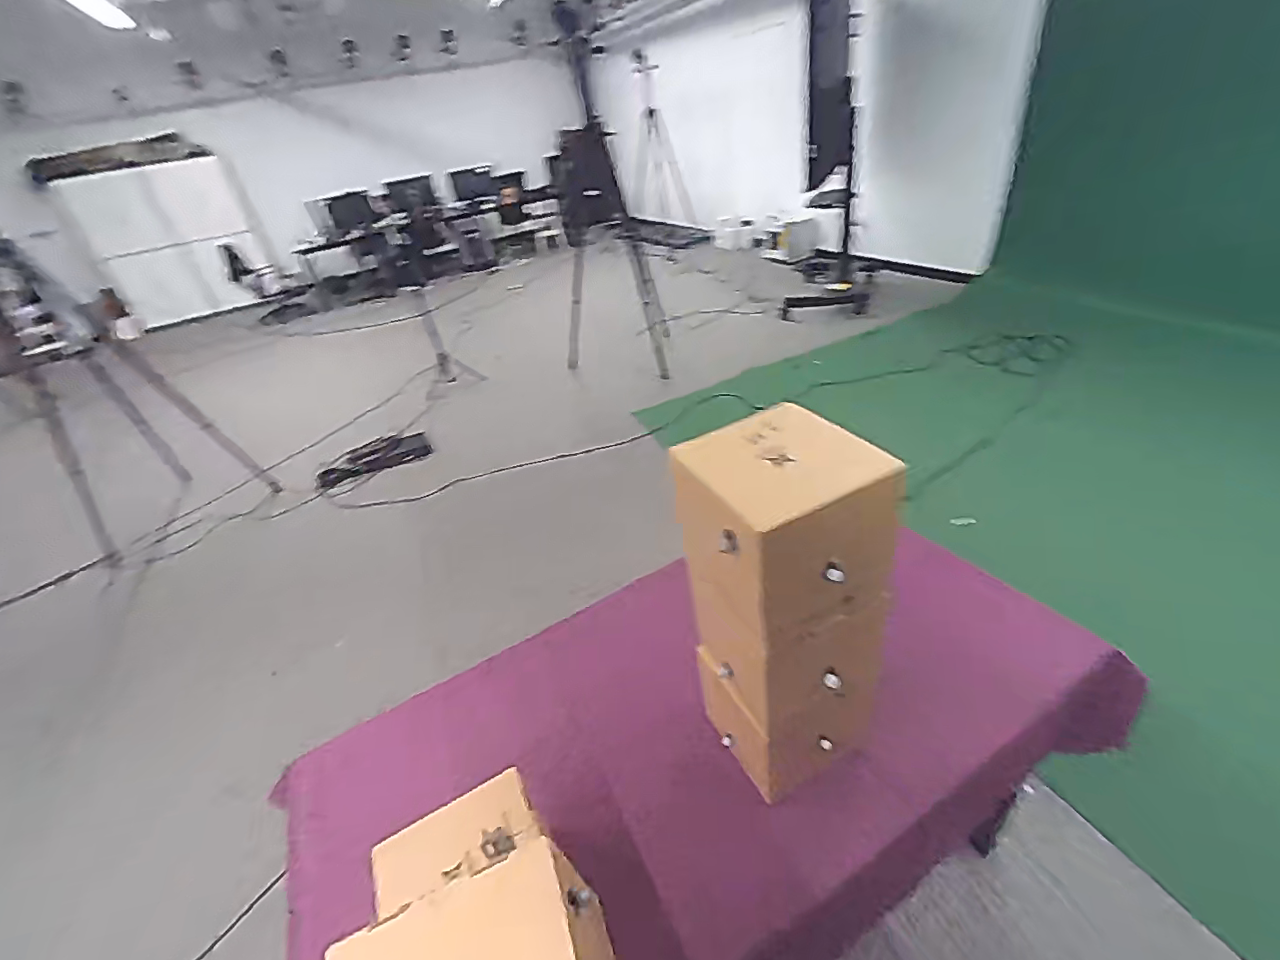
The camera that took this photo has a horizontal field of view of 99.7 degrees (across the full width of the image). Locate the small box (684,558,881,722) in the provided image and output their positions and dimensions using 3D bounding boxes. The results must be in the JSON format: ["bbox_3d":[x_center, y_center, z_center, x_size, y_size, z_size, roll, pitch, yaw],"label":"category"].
[{"bbox_3d":[0.174,0.177,0.689,0.168,0.176,0.179,-20,36,-14],"label":"small box"}]

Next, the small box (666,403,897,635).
[{"bbox_3d":[0.148,0.043,0.594,0.168,0.176,0.179,-22,35,-15],"label":"small box"}]

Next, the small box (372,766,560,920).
[{"bbox_3d":[-0.183,0.485,0.629,0.179,0.176,0.168,-24,37,-18],"label":"small box"}]

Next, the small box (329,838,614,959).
[{"bbox_3d":[-0.098,0.405,0.379,0.168,0.176,0.179,-22,38,-11],"label":"small box"}]
